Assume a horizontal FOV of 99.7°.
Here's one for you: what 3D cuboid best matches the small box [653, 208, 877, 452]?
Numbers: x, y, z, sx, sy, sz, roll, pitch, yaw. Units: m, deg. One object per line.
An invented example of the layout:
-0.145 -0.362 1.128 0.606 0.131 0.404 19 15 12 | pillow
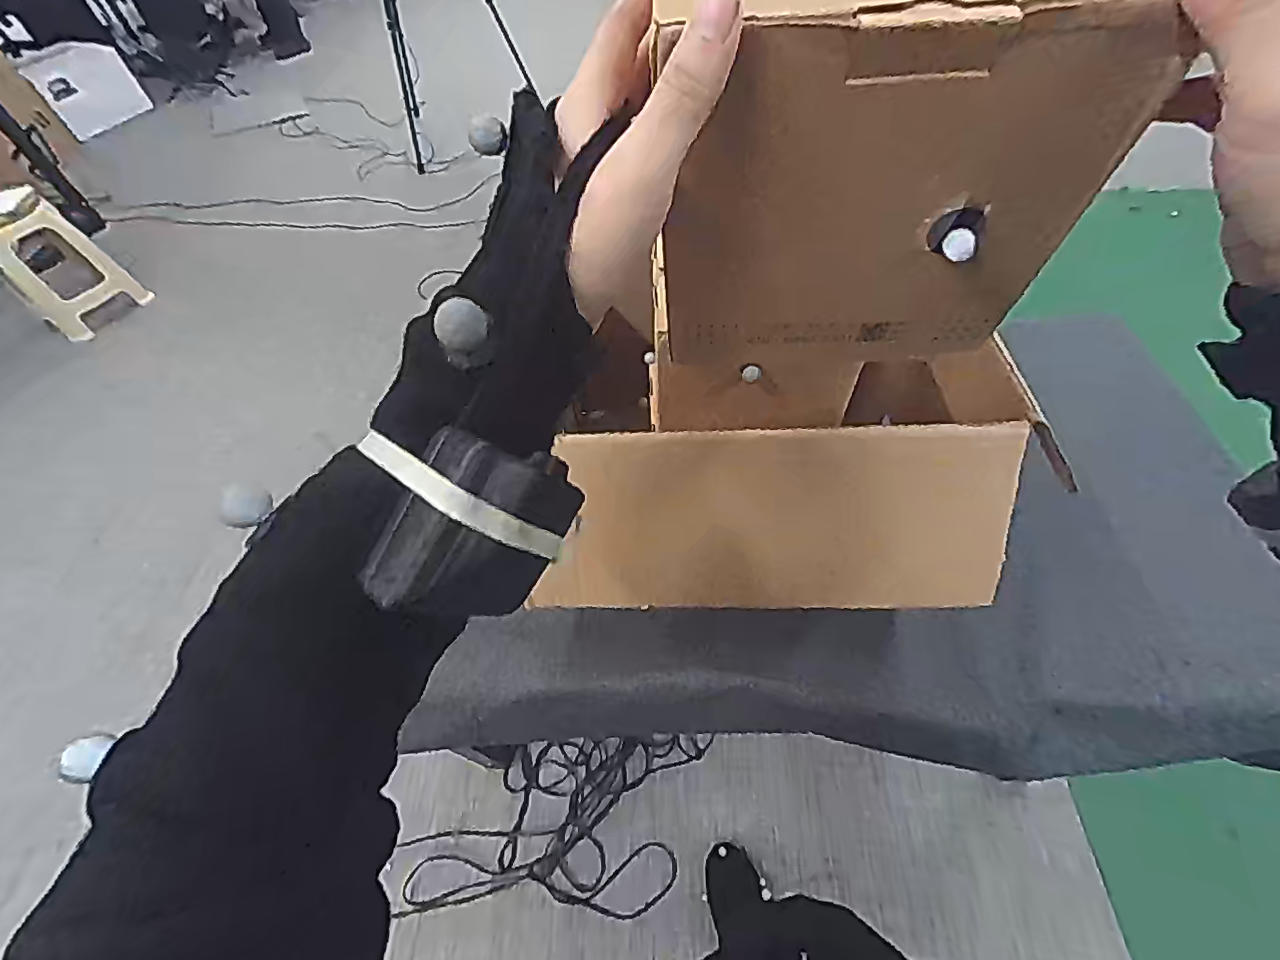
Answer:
0.102 -0.140 0.531 0.179 0.176 0.168 -1 54 2 | small box
